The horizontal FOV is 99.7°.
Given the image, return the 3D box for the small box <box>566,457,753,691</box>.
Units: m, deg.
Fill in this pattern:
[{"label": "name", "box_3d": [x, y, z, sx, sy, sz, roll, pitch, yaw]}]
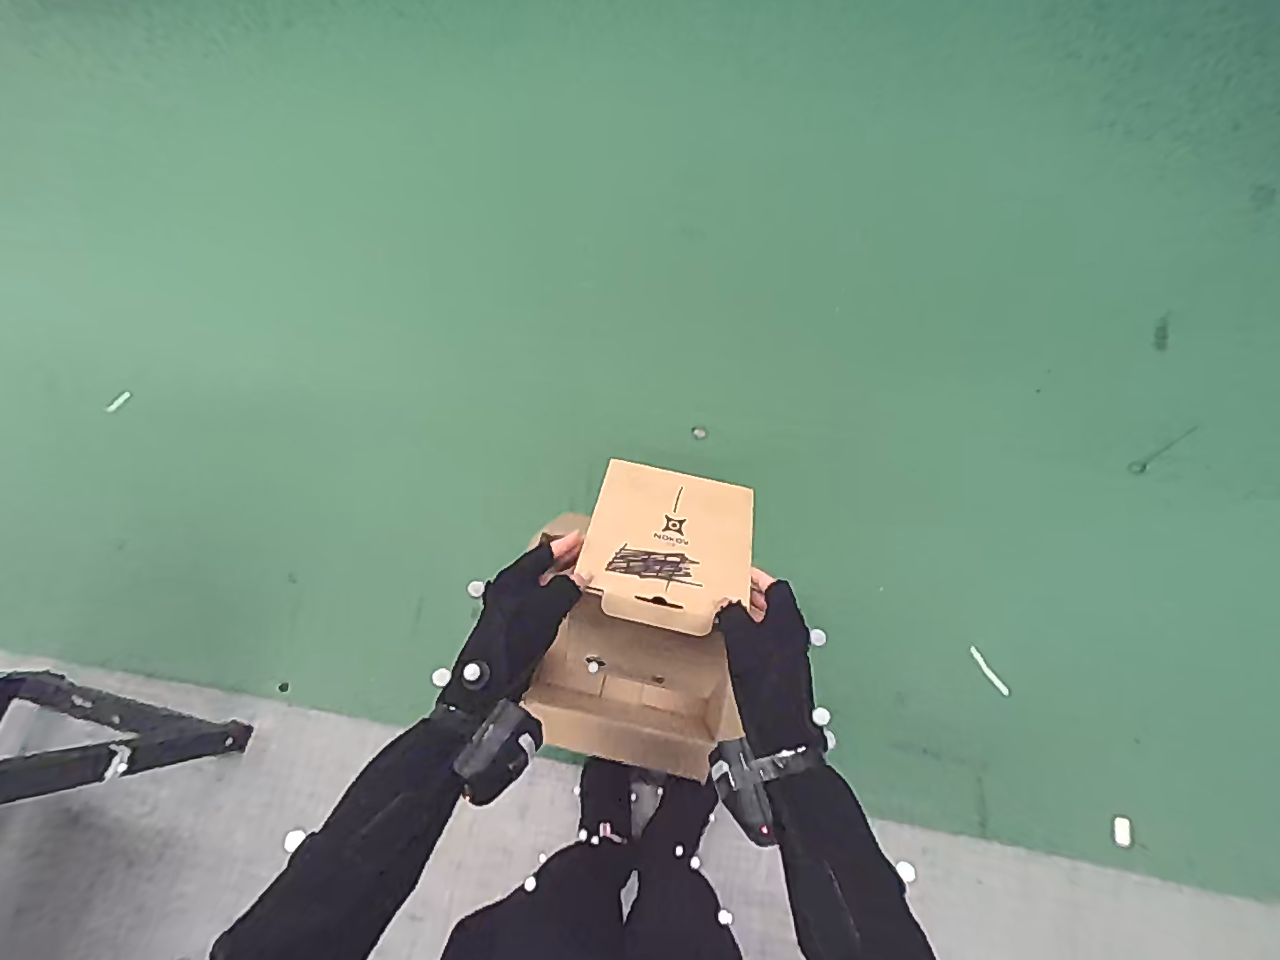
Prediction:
[{"label": "small box", "box_3d": [0.020, 0.107, 0.597, 0.168, 0.176, 0.179, 13, 45, 2]}]
